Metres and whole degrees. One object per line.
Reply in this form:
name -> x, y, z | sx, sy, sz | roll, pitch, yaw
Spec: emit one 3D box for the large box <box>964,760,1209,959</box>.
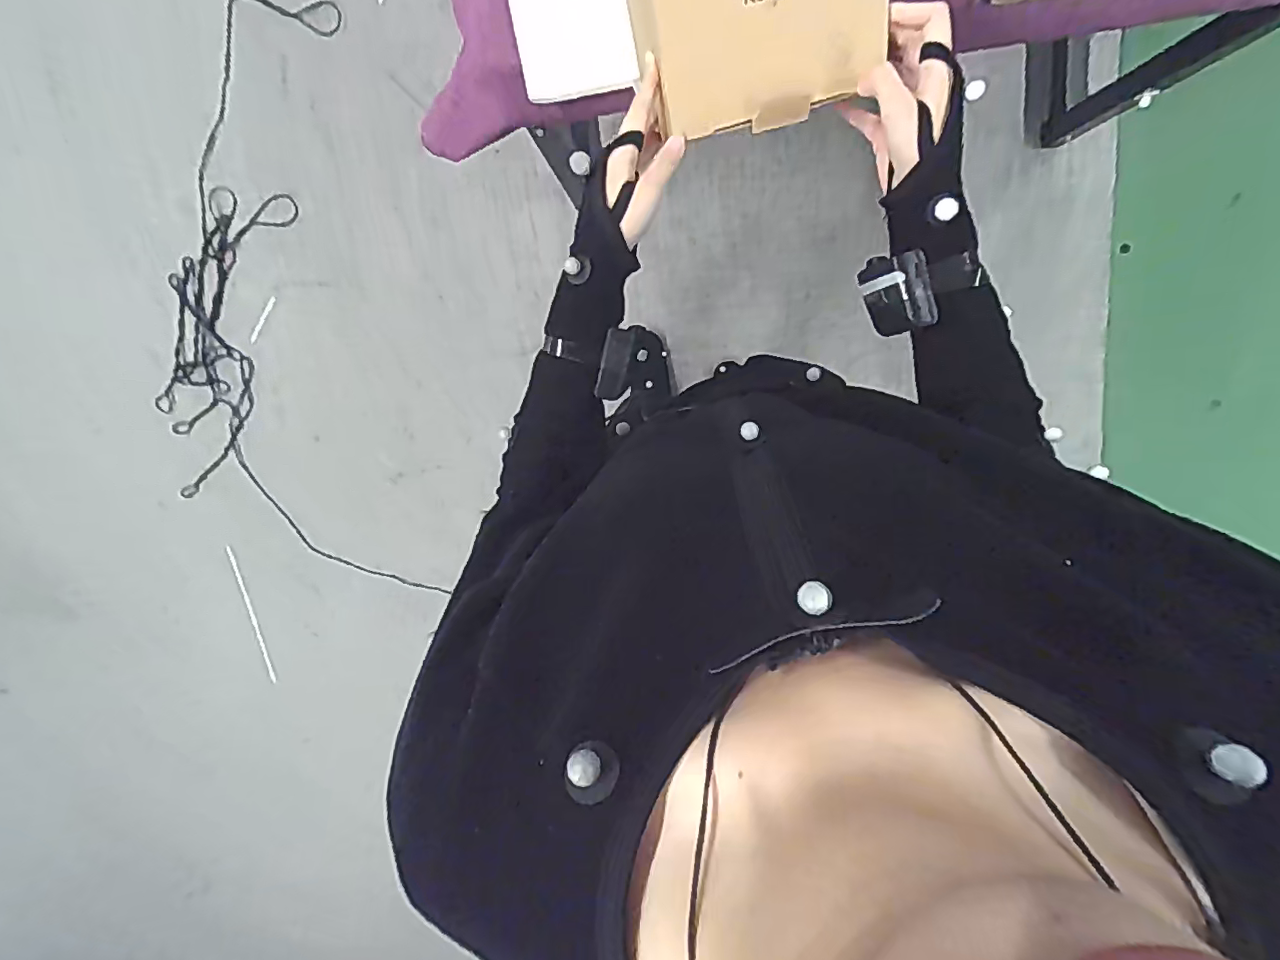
large box -> 1.231, 1.075, 1.532 | 0.408, 0.320, 0.320 | -21, 101, 6
